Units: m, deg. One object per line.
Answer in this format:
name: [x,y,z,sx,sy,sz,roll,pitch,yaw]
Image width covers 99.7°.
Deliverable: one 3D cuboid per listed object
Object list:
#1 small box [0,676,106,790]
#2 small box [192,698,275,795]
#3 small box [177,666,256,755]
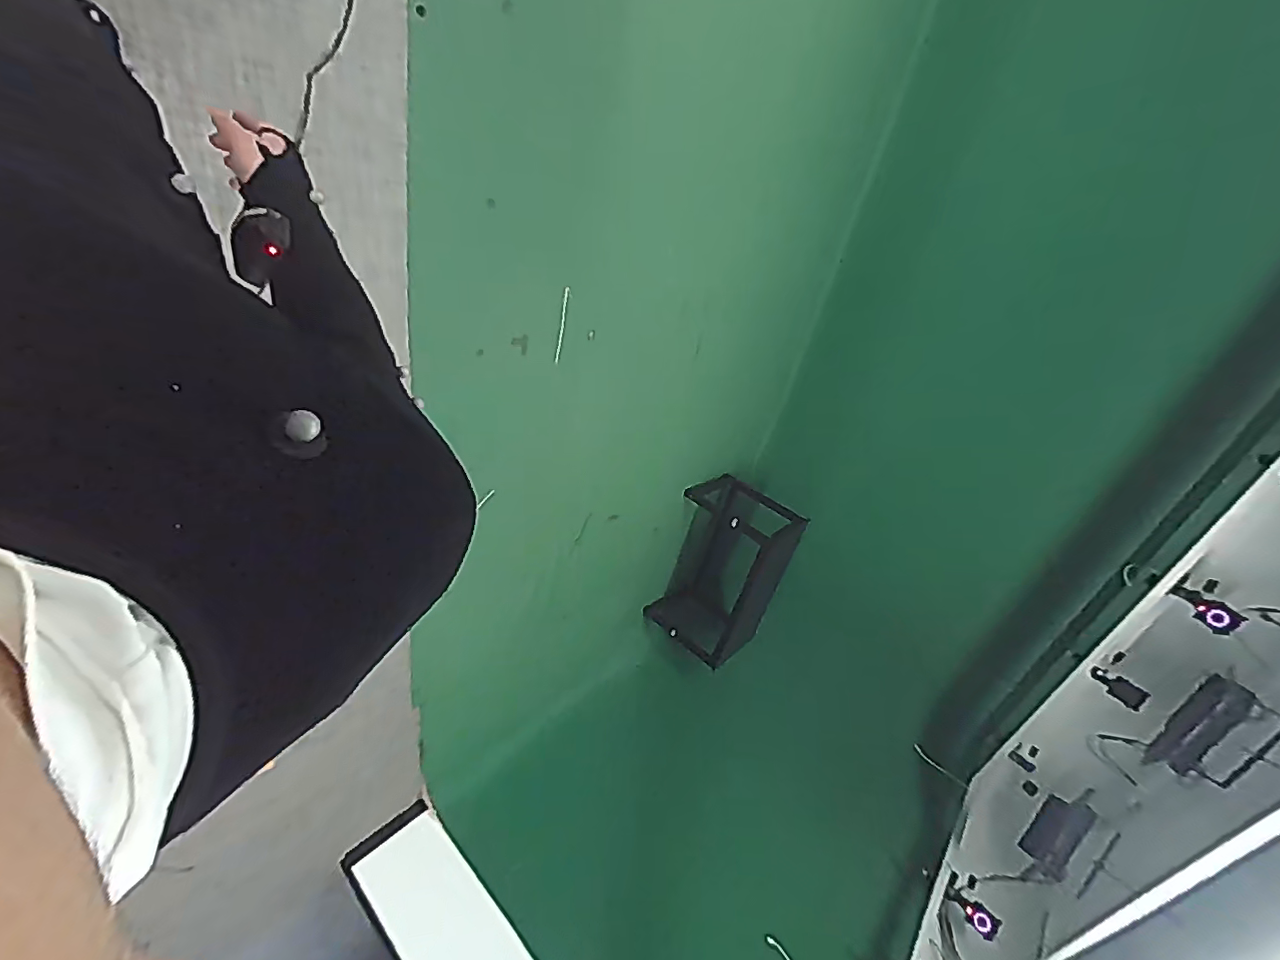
small box: [-1.577,0.661,1.434,0.179,0.176,0.168,-22,136,-47]
small box: [-1.282,0.830,1.701,0.179,0.176,0.168,-14,131,-51]
small box: [-1.403,0.755,1.787,0.179,0.176,0.168,-13,130,-51]
